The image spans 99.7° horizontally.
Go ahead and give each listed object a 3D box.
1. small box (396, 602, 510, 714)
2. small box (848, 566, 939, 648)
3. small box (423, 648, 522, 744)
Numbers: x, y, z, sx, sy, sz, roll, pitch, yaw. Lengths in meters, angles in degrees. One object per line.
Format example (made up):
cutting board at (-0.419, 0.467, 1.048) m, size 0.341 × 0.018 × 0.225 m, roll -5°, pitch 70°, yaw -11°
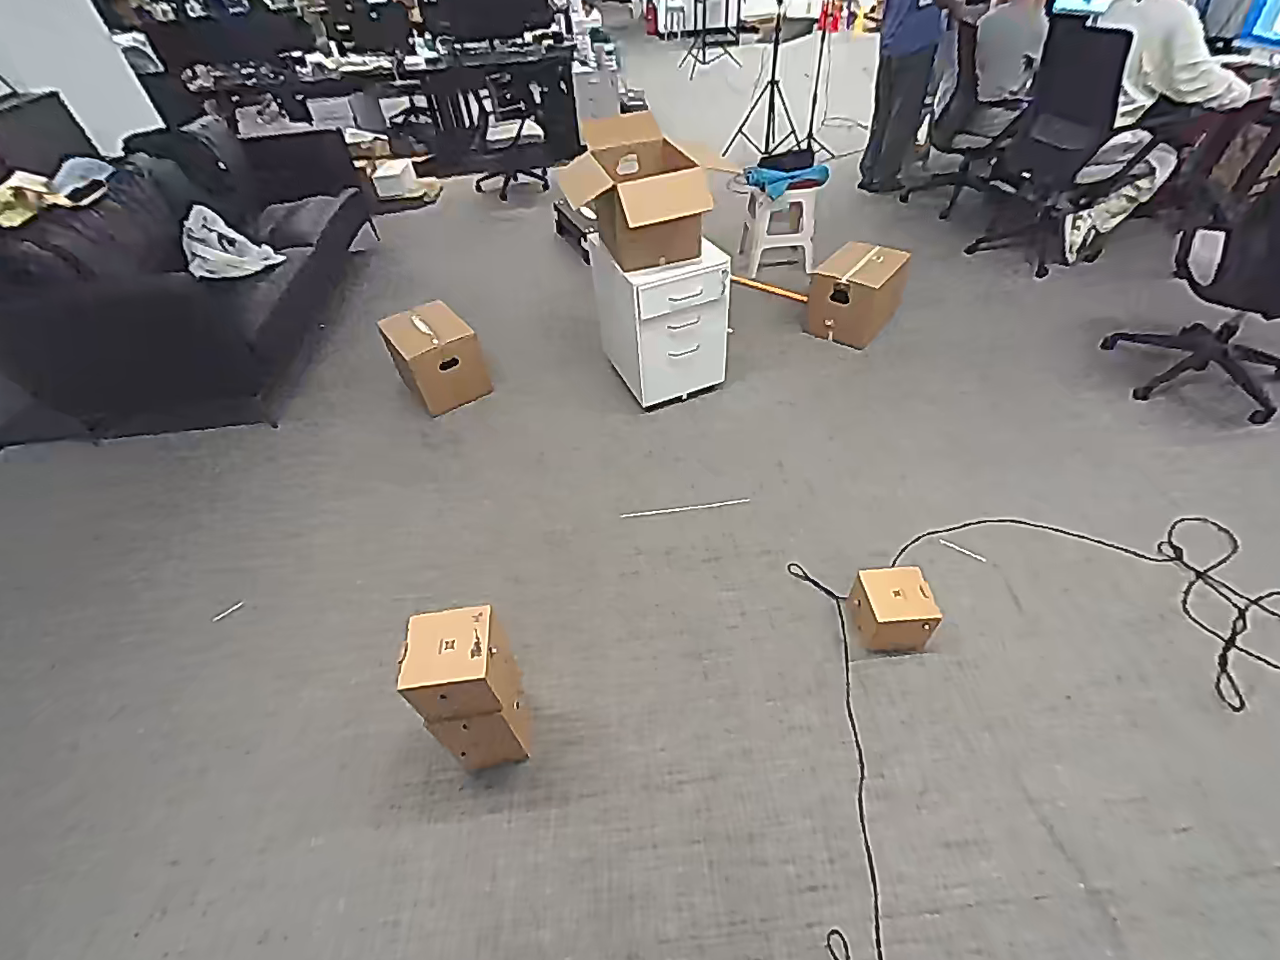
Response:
small box at (-0.393, 0.388, 1.168) m, size 0.179 × 0.176 × 0.168 m, roll -8°, pitch 47°, yaw -2°
small box at (0.708, 0.365, 1.538) m, size 0.179 × 0.176 × 0.168 m, roll -4°, pitch 46°, yaw 0°
small box at (-0.388, 0.507, 1.281) m, size 0.179 × 0.176 × 0.168 m, roll -7°, pitch 47°, yaw -3°
